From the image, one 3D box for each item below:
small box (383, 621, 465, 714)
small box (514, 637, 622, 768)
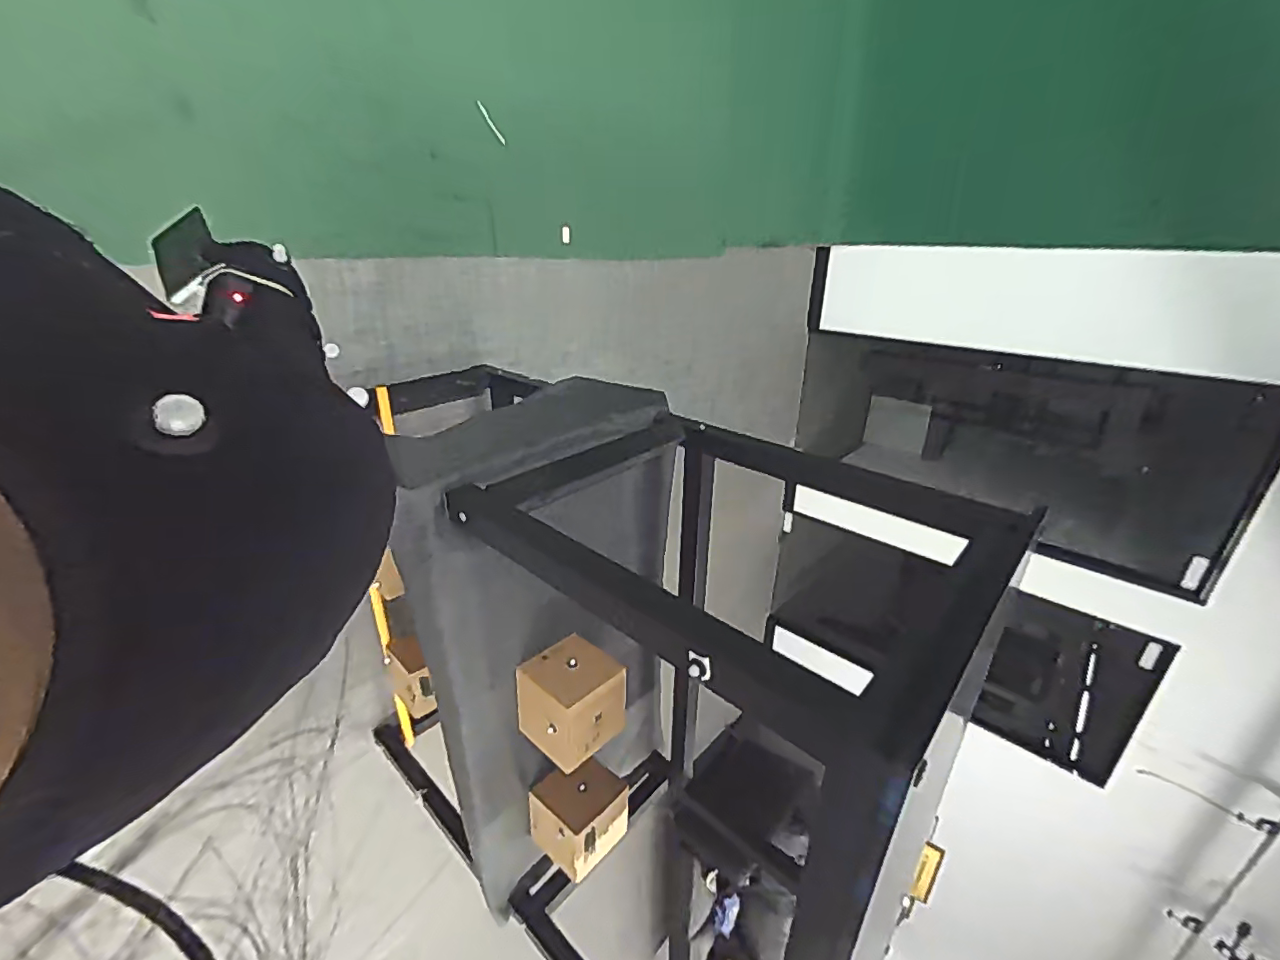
[{"bbox_3d":[-0.655,0.558,1.631,0.179,0.176,0.168,-20,122,-44],"label":"small box"},{"bbox_3d":[-0.157,0.464,1.167,0.168,0.176,0.179,-21,122,-44],"label":"small box"}]
